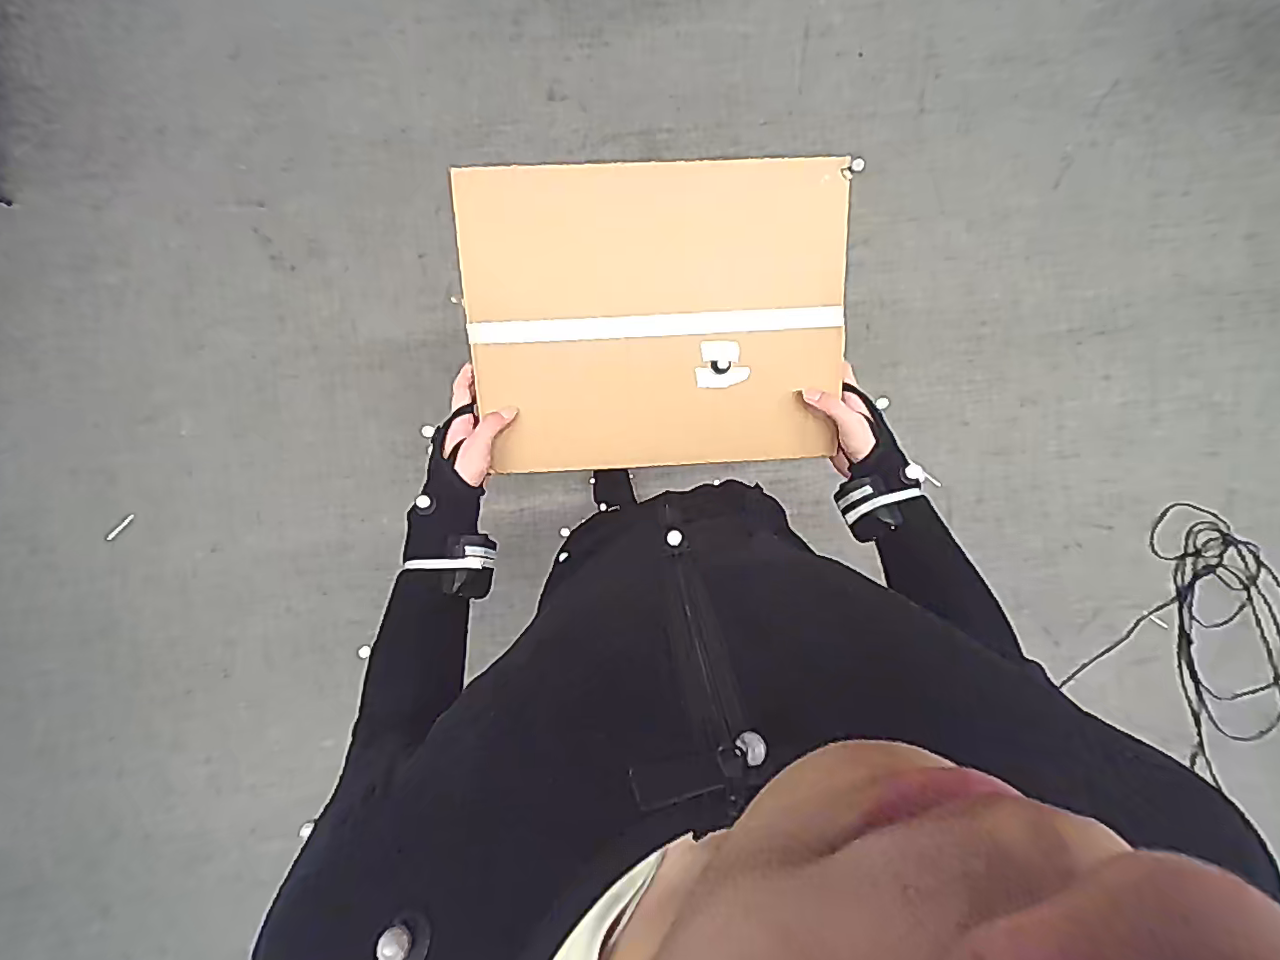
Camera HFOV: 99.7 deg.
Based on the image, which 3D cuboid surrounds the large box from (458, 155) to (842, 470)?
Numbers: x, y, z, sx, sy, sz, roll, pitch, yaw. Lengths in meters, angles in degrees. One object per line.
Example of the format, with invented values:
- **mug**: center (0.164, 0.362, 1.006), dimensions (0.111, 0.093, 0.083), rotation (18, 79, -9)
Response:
- **large box**: center (0.012, -0.210, 0.733), dimensions (0.408, 0.320, 0.320), rotation (-4, 105, -3)
